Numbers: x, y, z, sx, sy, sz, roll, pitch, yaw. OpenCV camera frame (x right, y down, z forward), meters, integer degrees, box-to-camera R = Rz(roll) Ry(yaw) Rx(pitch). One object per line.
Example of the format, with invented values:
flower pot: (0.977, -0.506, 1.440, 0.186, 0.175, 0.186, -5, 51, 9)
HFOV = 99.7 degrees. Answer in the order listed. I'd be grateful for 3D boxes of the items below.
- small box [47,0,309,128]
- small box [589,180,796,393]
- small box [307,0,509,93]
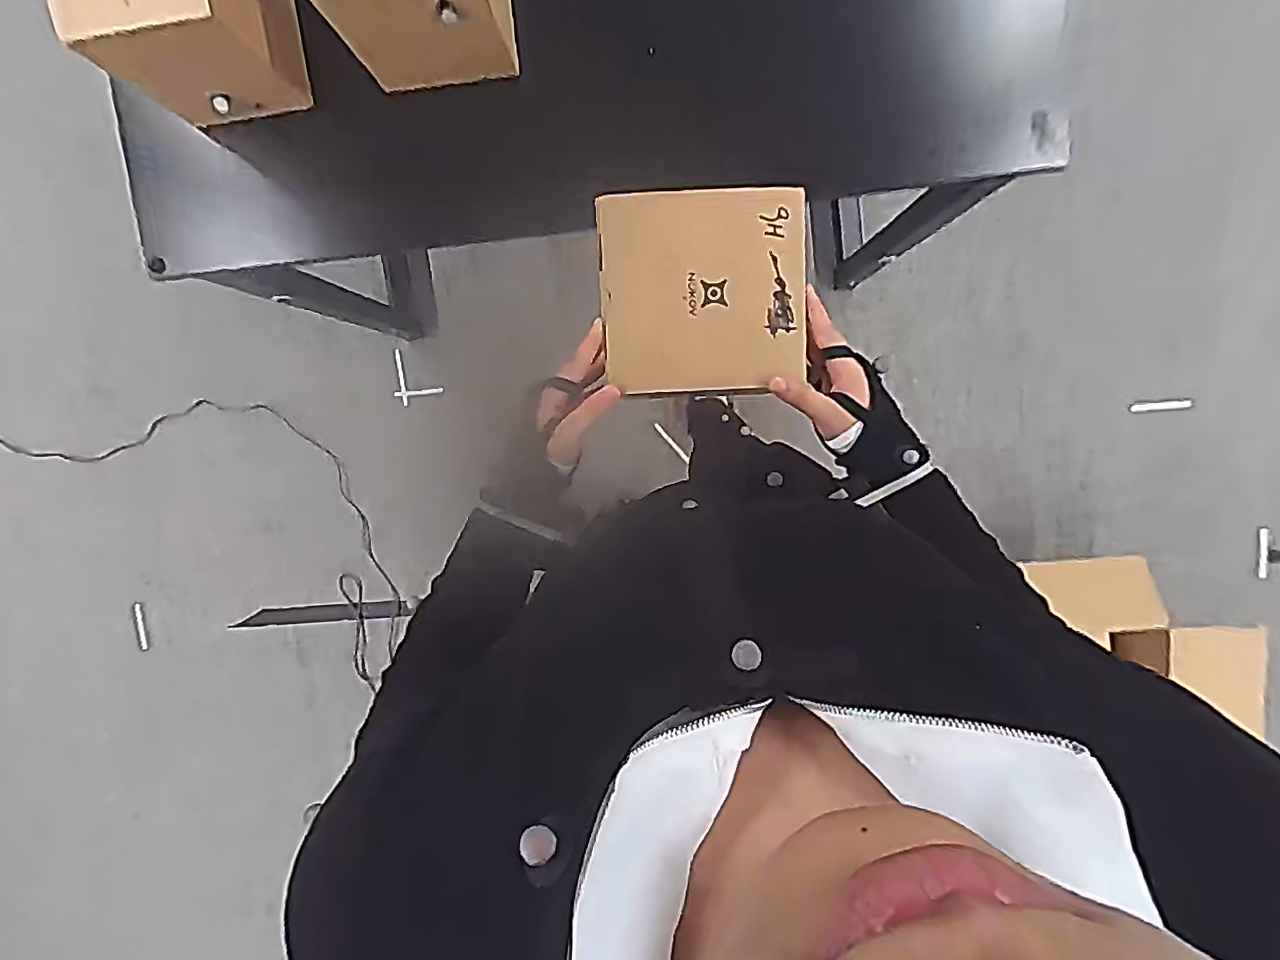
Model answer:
small box: (-0.519, -0.545, 0.616, 0.168, 0.176, 0.179, -8, 97, 3)
small box: (0.047, -0.177, 0.542, 0.179, 0.176, 0.168, -2, 97, 0)
small box: (-0.254, -0.574, 0.604, 0.179, 0.176, 0.168, -6, 96, 2)
